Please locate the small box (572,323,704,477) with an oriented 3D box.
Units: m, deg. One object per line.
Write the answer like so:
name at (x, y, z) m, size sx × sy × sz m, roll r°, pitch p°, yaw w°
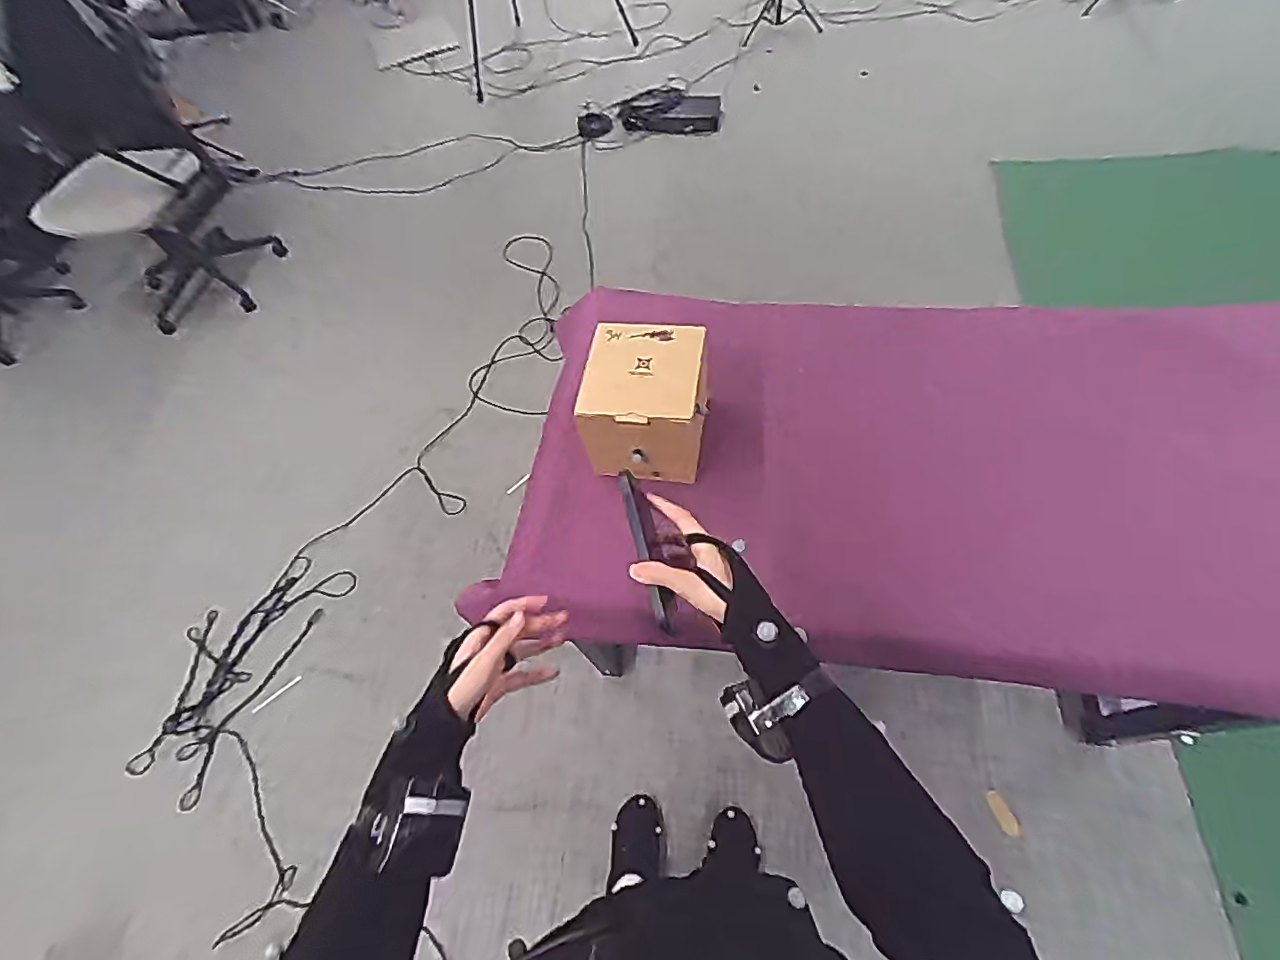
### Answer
small box at (0.008, -0.119, 0.839) m, size 0.168 × 0.176 × 0.179 m, roll 5°, pitch 61°, yaw 10°
